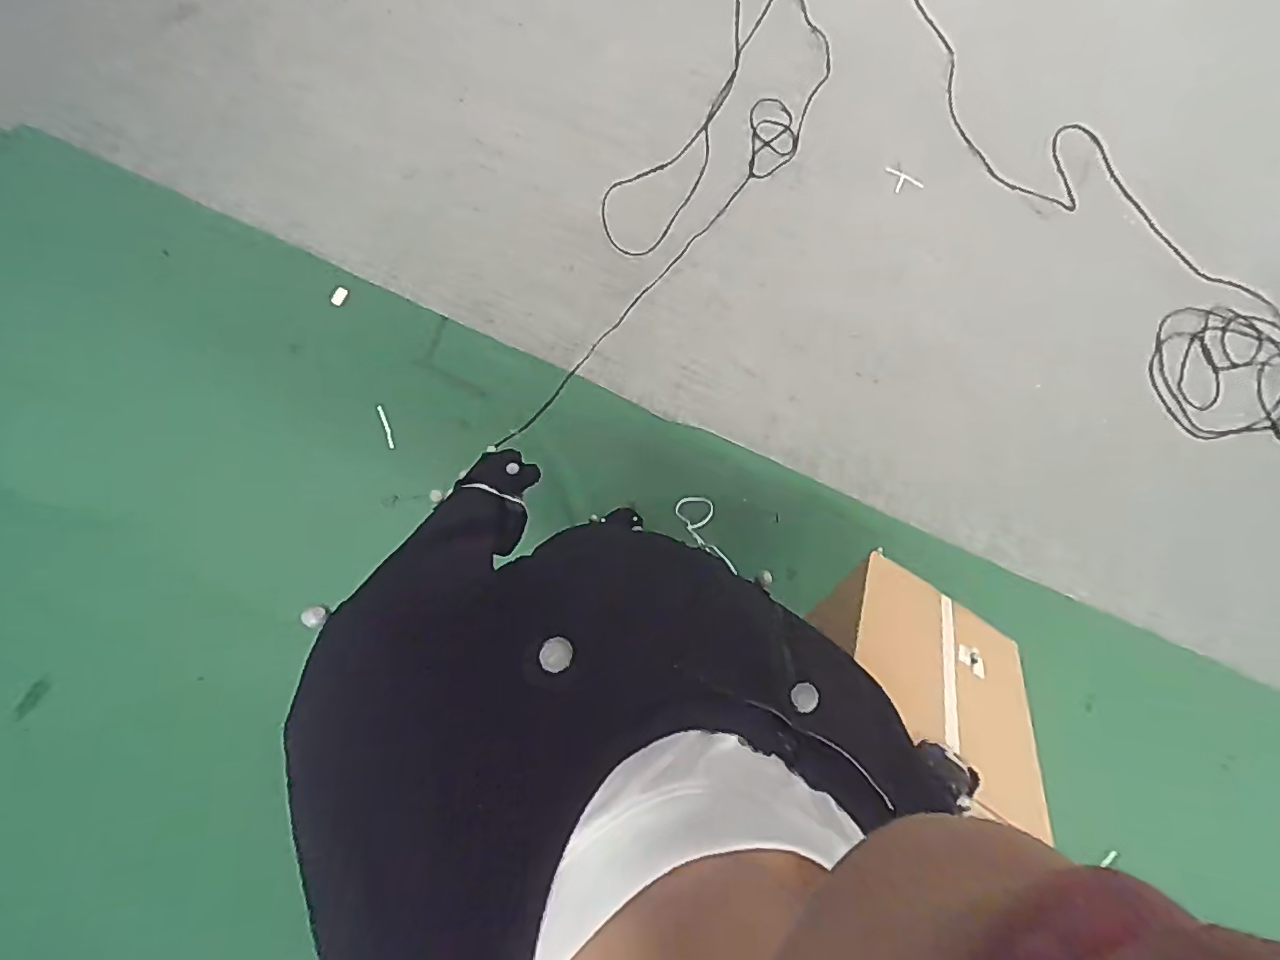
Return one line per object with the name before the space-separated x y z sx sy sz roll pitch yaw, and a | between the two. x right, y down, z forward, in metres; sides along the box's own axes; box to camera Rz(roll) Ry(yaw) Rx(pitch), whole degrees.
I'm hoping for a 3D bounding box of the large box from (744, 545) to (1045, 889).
large box | 0.431 0.403 0.970 0.320 0.408 0.320 34 127 7
